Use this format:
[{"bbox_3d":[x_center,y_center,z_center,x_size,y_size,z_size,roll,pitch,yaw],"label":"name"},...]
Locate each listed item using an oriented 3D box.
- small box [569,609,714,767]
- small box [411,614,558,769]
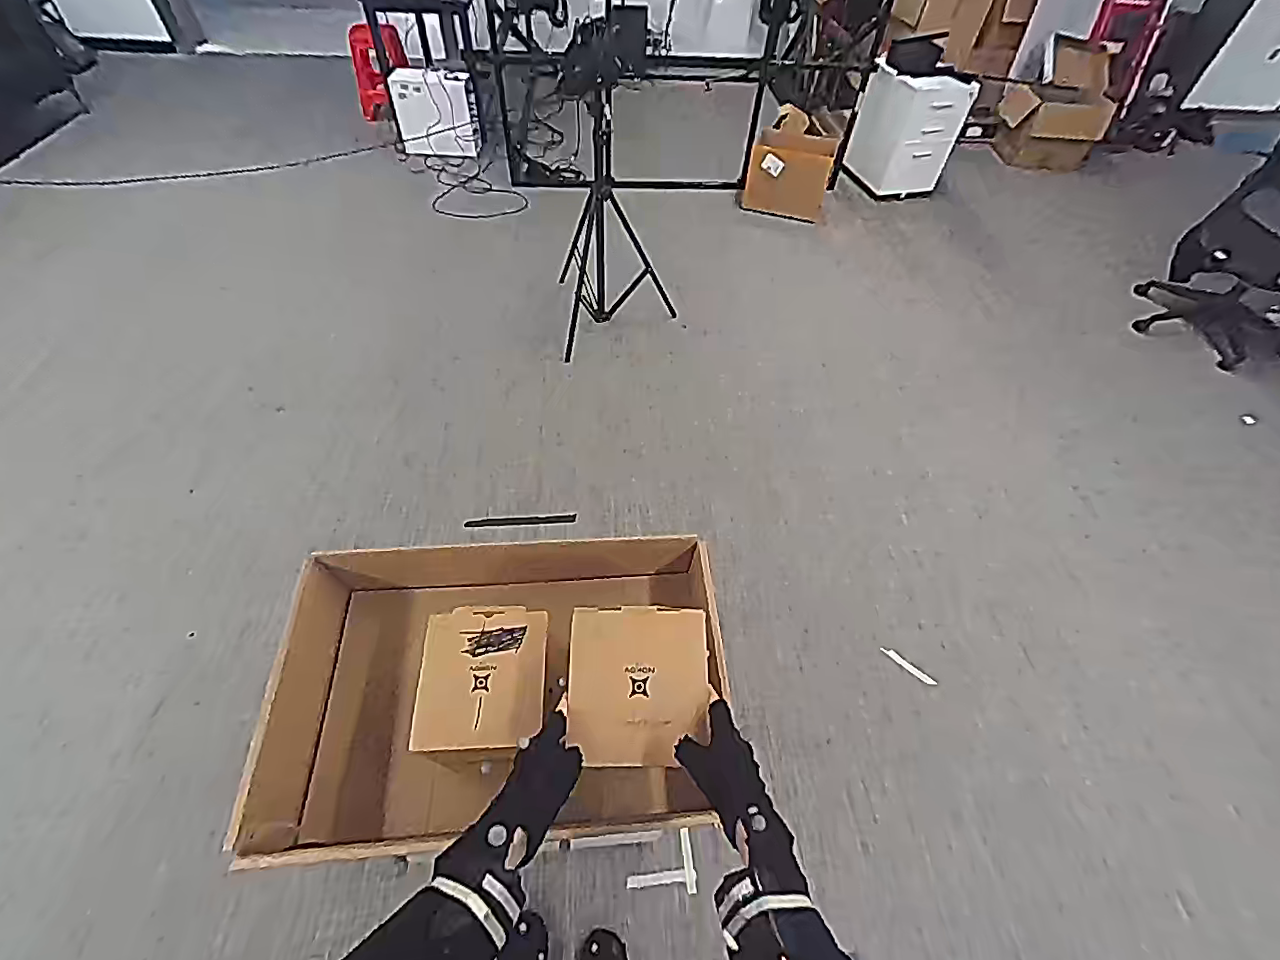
[{"bbox_3d":[-0.003,0.275,0.706,0.168,0.176,0.179,1,64,-3],"label":"small box"},{"bbox_3d":[-0.208,0.307,0.779,0.168,0.176,0.179,-1,57,-4],"label":"small box"}]
